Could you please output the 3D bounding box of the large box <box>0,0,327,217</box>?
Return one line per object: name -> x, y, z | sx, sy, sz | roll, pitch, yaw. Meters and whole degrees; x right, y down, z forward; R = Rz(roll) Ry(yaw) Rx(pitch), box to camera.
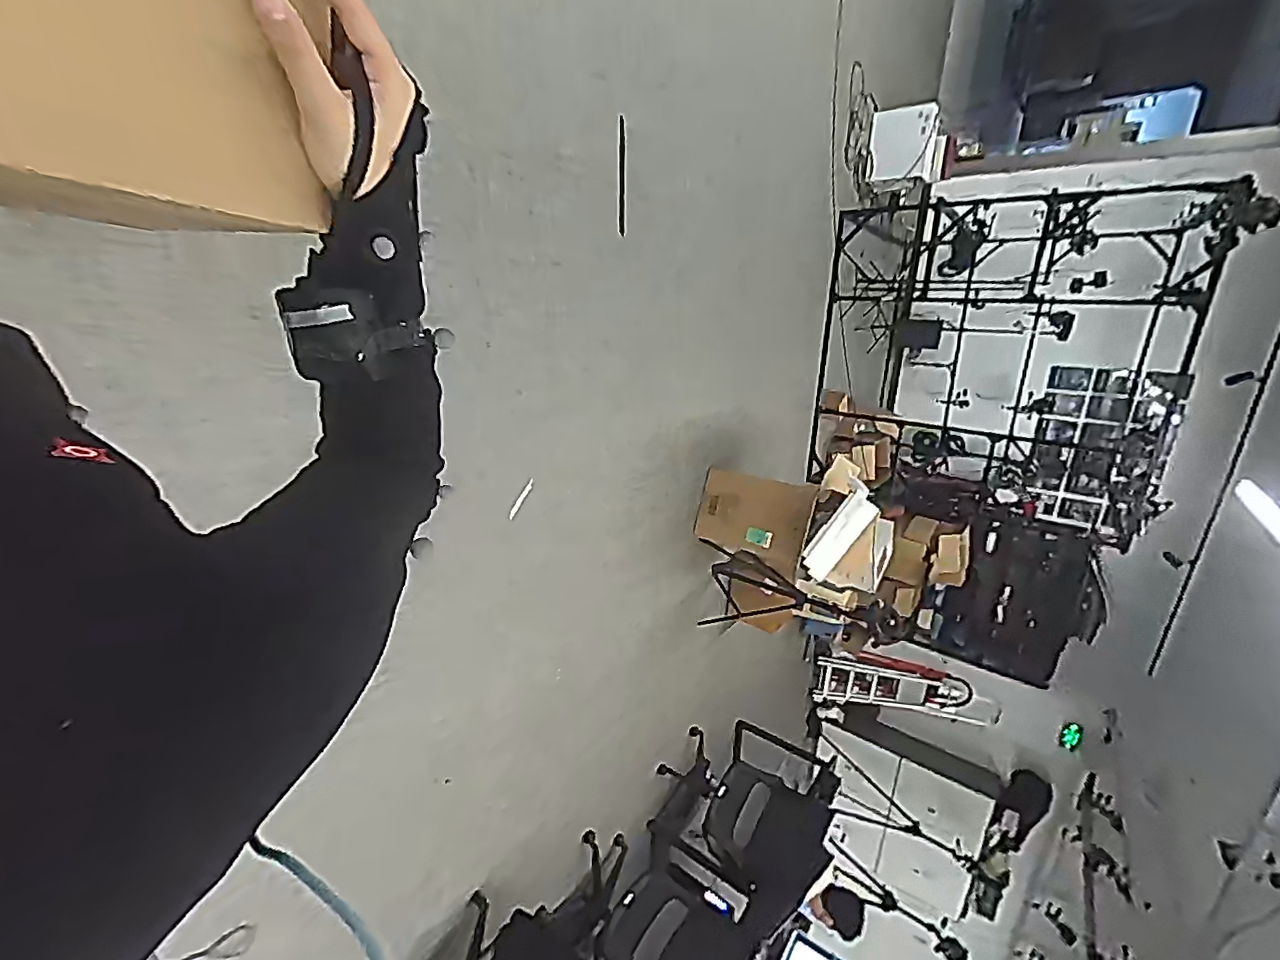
large box -> -0.409, -0.310, 0.207 | 0.408, 0.320, 0.320 | -16, 119, -55
